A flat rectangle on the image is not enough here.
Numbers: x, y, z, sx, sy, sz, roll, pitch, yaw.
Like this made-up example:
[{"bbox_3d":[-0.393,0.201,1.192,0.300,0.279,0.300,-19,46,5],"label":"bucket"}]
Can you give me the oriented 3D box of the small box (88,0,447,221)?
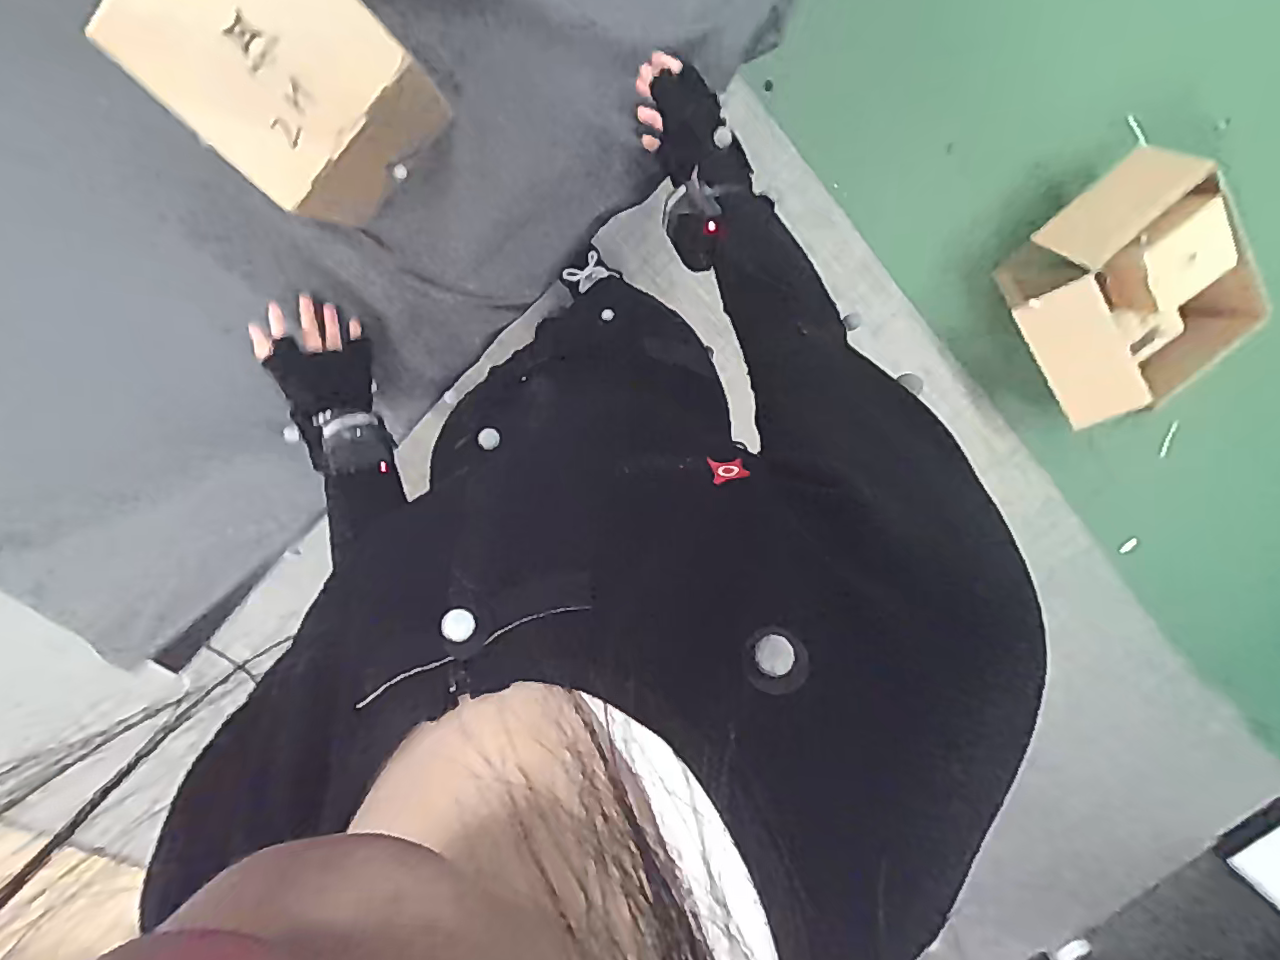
[{"bbox_3d":[-0.309,-0.365,0.495,0.168,0.176,0.179,-44,110,10],"label":"small box"}]
